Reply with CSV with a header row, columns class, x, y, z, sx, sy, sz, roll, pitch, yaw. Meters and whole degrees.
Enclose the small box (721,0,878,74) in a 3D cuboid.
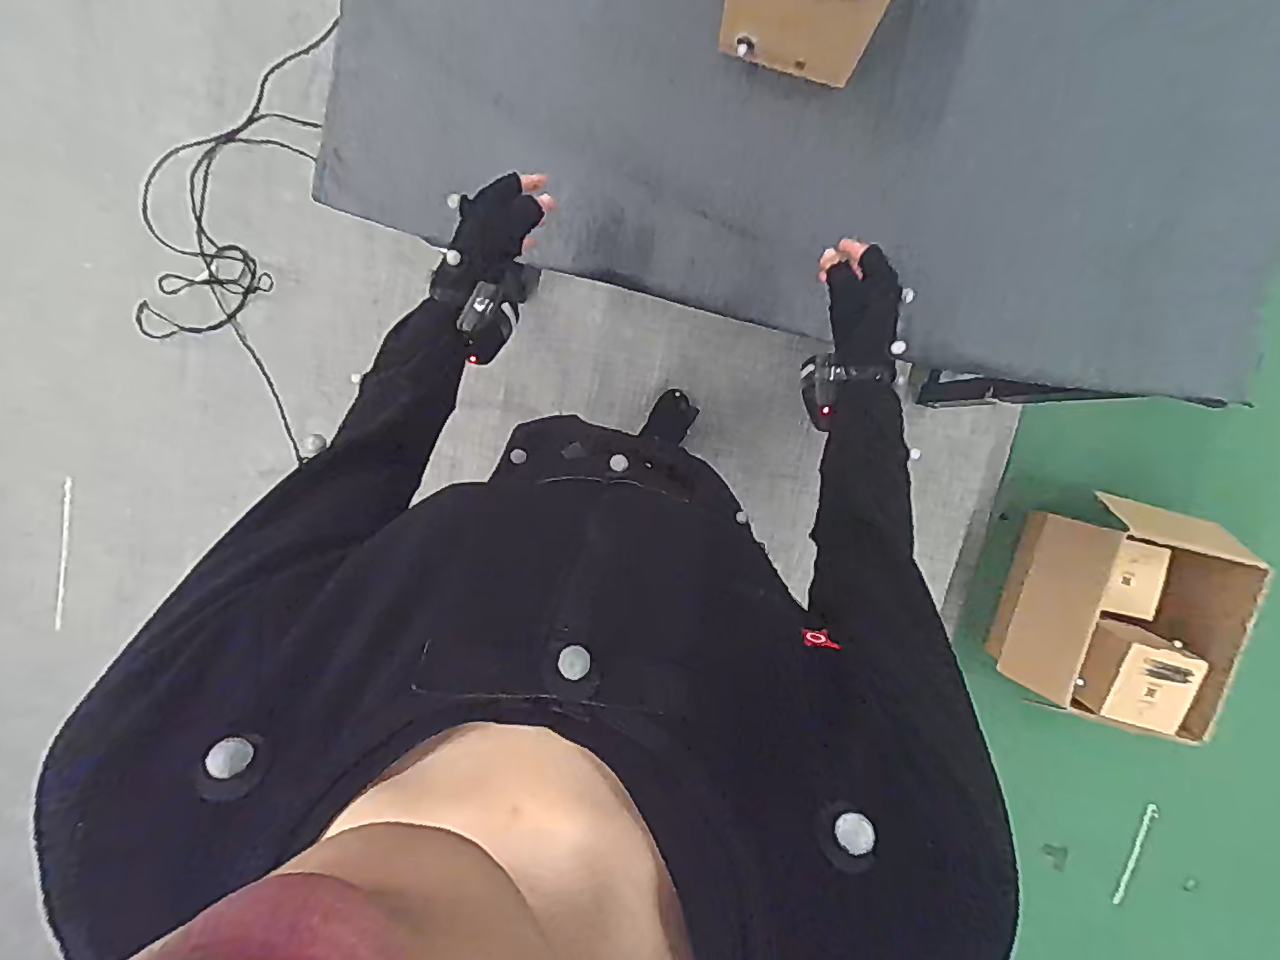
class,x,y,z,sx,sy,sz,roll,pitch,yaw
small box,0.191,-0.587,0.576,0.168,0.176,0.179,17,96,0
